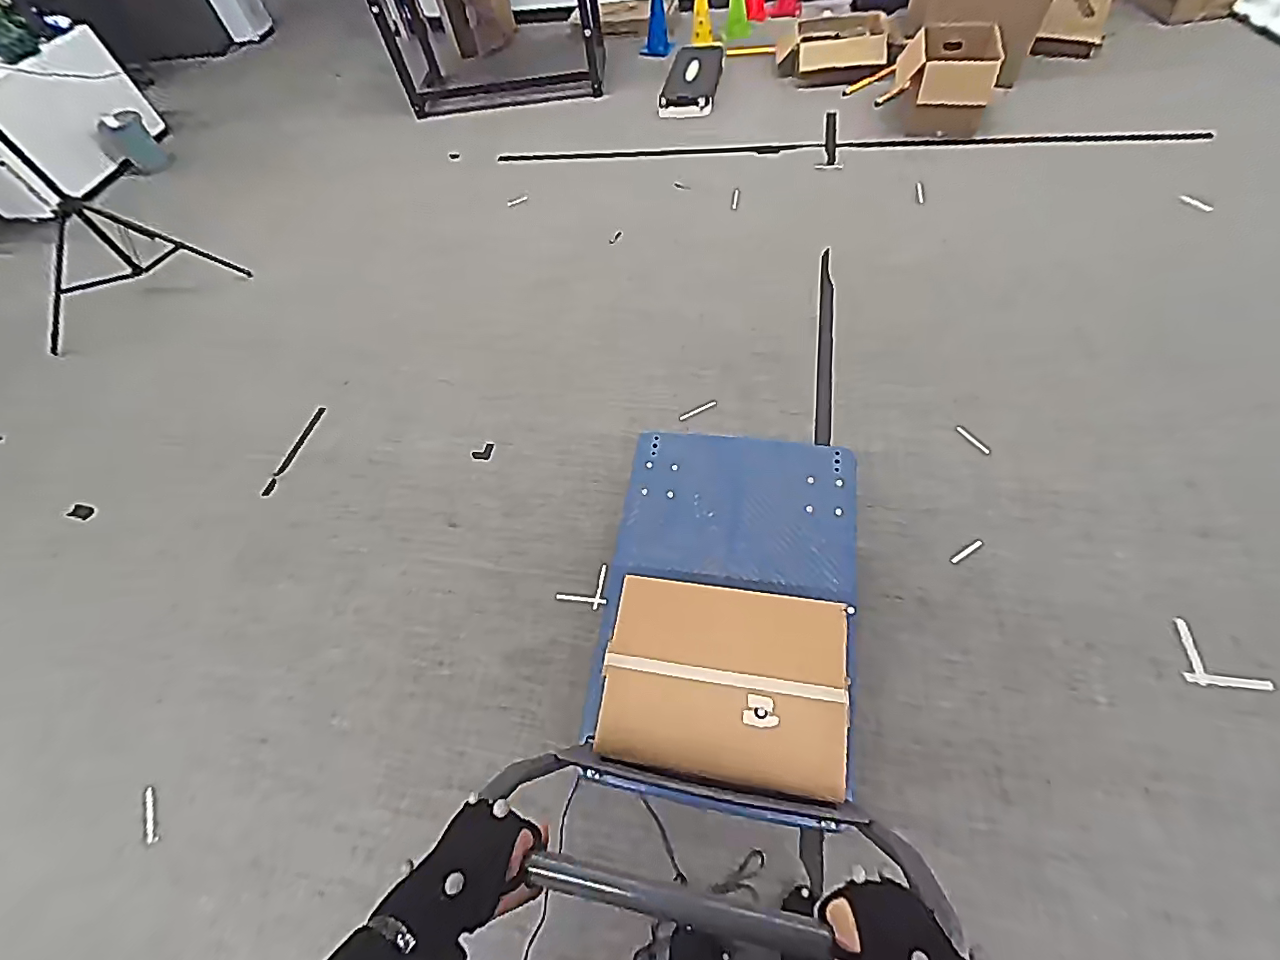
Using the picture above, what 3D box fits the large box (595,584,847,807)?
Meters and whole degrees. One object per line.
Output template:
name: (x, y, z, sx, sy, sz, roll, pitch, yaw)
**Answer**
large box: (0.156, 0.411, 1.045, 0.408, 0.320, 0.320, 5, 65, 10)
